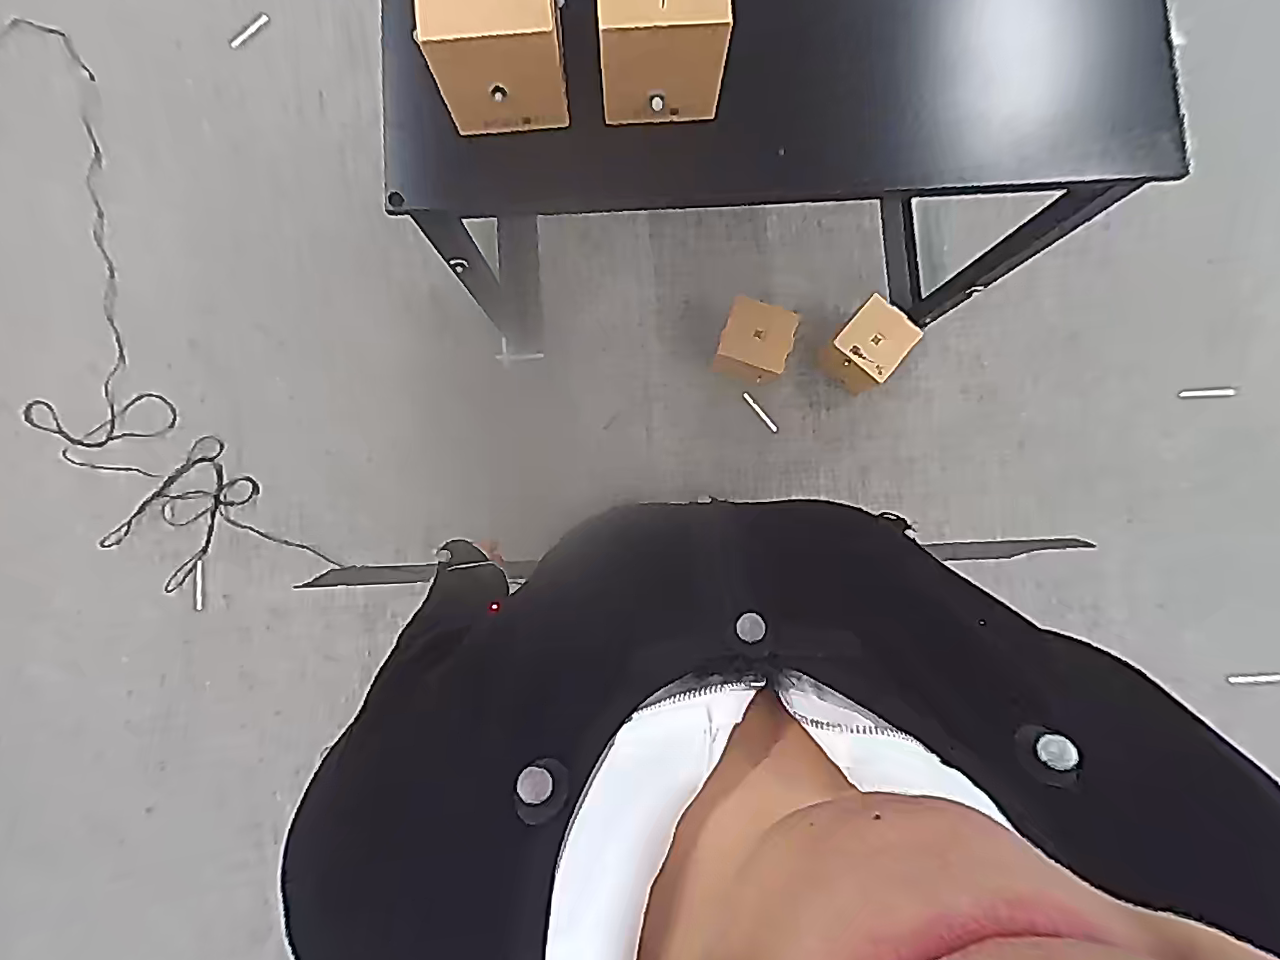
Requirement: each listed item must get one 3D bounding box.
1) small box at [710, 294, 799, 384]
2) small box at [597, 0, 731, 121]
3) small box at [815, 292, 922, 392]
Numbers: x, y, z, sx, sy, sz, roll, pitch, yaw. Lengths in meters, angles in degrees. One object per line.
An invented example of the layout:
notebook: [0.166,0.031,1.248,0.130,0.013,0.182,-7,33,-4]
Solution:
small box: [0.301,-0.371,1.459,0.179,0.176,0.168,18,86,2]
small box: [0.025,-0.634,0.740,0.168,0.176,0.179,-3,87,0]
small box: [0.604,-0.364,1.457,0.168,0.176,0.179,41,88,2]
